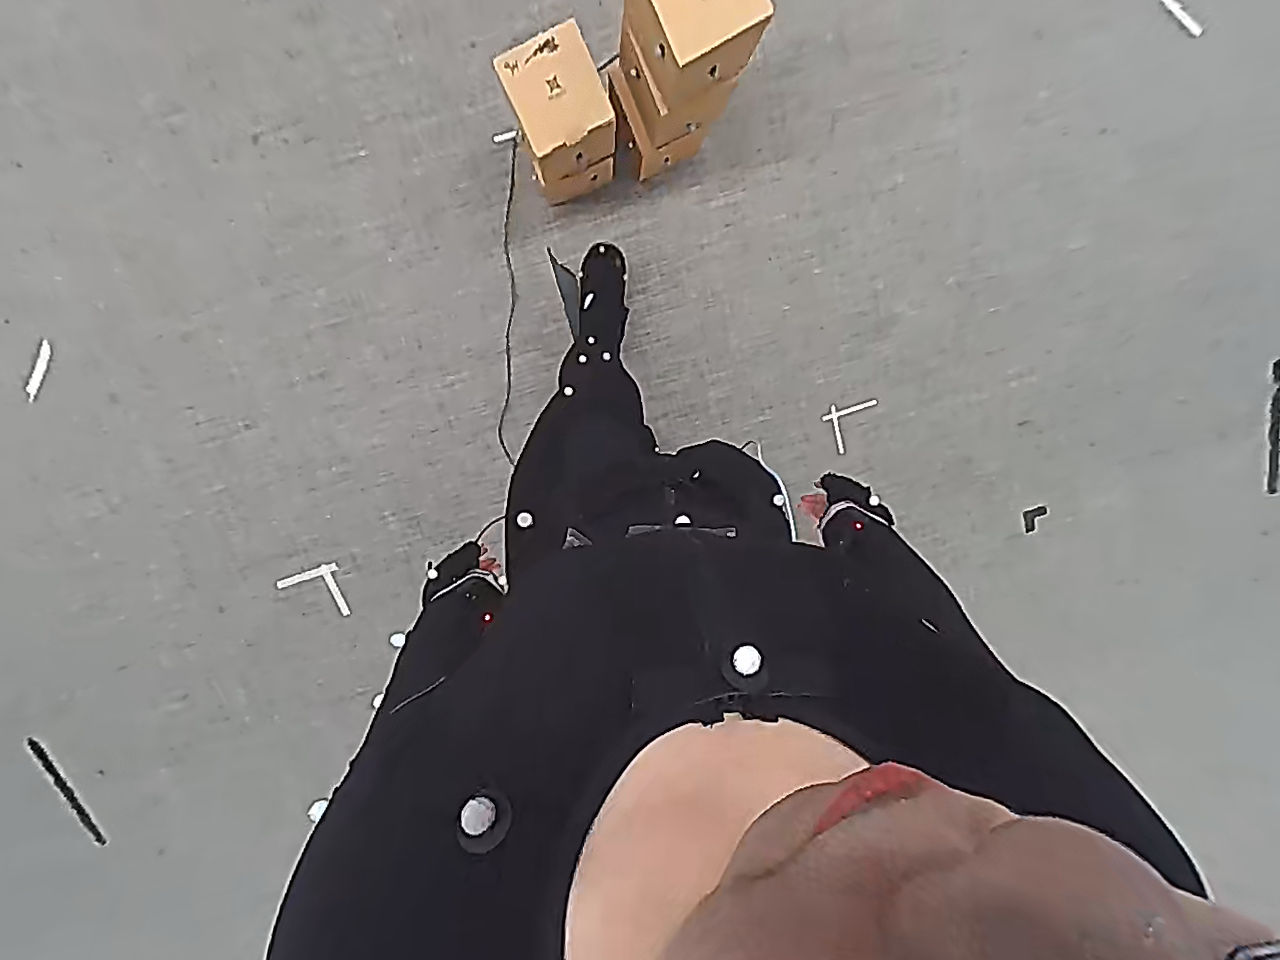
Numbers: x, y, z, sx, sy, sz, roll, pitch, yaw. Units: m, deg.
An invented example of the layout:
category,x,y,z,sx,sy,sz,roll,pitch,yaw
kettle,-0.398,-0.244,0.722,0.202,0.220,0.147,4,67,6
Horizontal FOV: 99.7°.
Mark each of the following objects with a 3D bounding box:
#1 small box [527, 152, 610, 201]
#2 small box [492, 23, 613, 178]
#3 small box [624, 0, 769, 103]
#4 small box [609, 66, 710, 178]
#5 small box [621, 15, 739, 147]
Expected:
category,x,y,z,sx,sy,sz,roll,pitch,yaw
small box,-0.171,-0.750,1.213,0.168,0.176,0.179,-21,103,1
small box,-0.161,-0.718,1.052,0.168,0.176,0.179,-25,104,2
small box,0.085,-0.763,0.887,0.168,0.176,0.179,-28,104,3
small box,0.036,-0.818,1.210,0.168,0.176,0.179,-26,104,3
small box,0.069,-0.793,1.049,0.168,0.176,0.179,-25,105,2
